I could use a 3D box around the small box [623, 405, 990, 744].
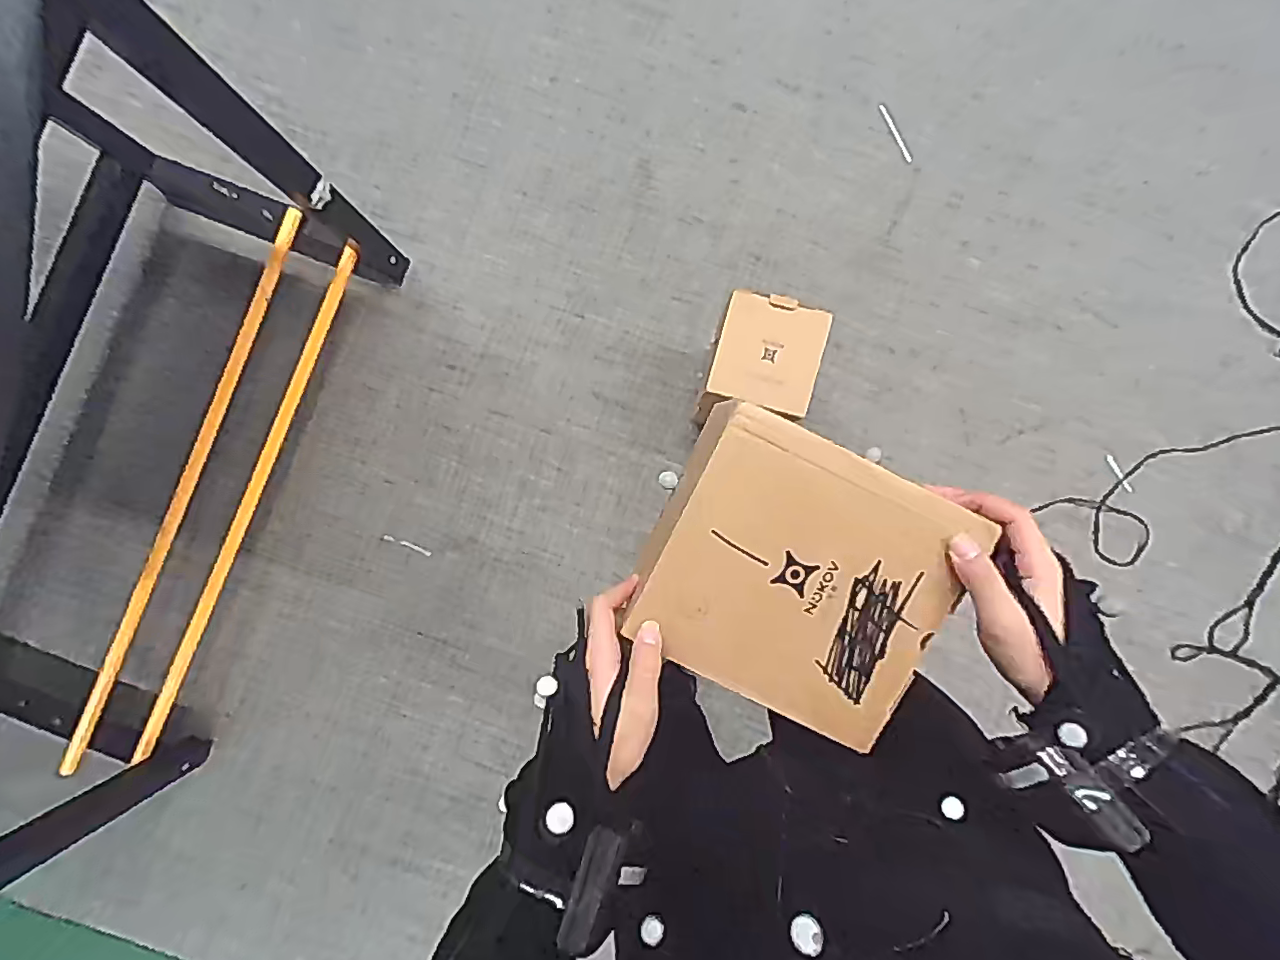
[{"bbox_3d":[0.106,0.052,0.416,0.179,0.176,0.168,27,97,1],"label":"small box"}]

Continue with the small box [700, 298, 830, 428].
[{"bbox_3d":[0.206,-0.187,0.944,0.168,0.176,0.179,15,89,2],"label":"small box"}]
